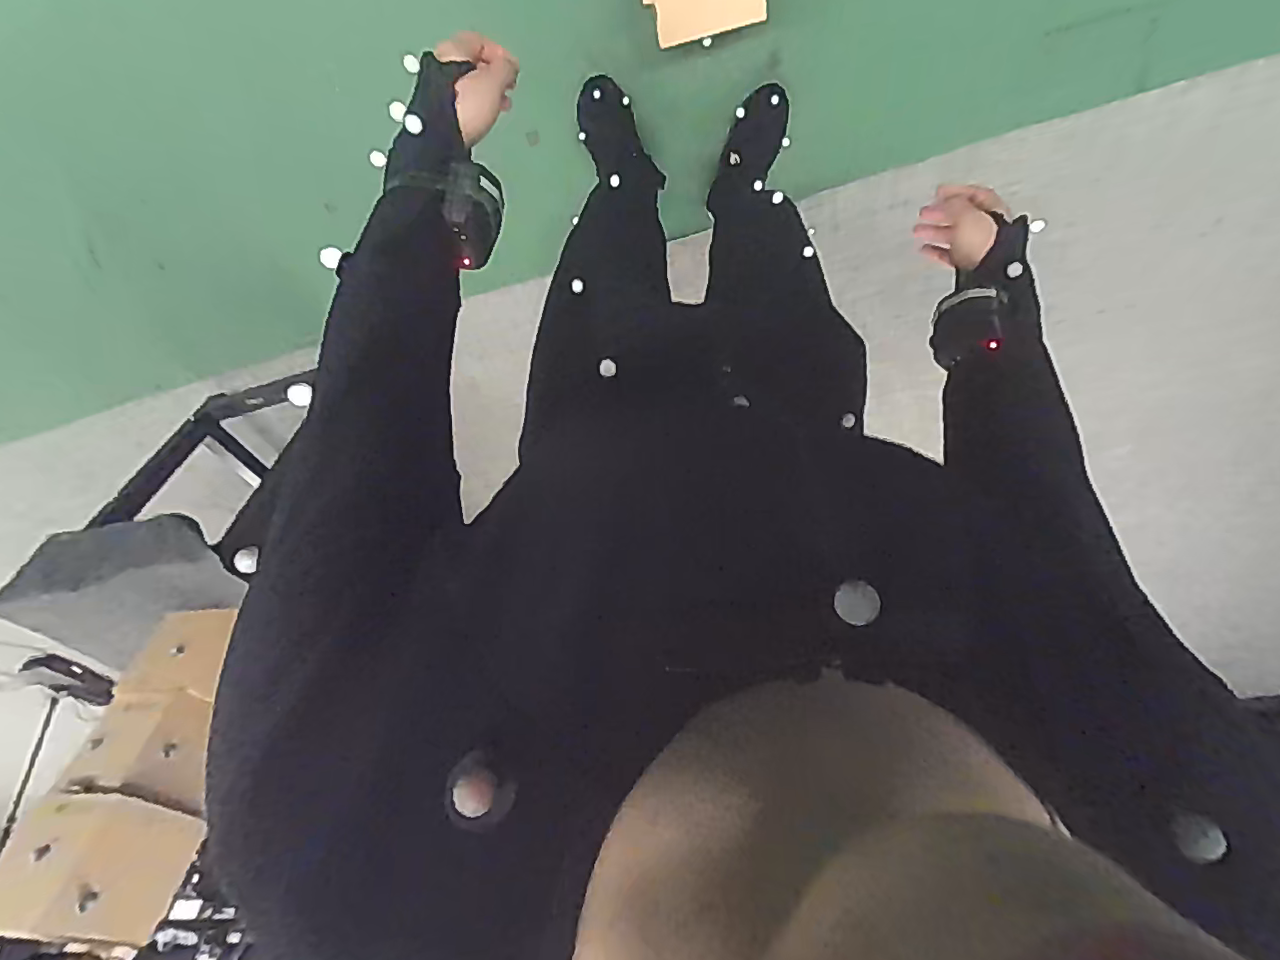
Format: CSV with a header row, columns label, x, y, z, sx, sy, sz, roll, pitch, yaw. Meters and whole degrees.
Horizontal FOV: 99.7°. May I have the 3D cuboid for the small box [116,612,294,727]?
label,x,y,z,sx,sy,sz,roll,pitch,yaw
small box,-0.832,0.375,1.057,0.179,0.176,0.168,-7,135,10

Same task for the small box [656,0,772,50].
label,x,y,z,sx,sy,sz,roll,pitch,yaw
small box,0.107,-0.829,0.871,0.179,0.176,0.168,-9,135,10

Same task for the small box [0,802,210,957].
label,x,y,z,sx,sy,sz,roll,pitch,yaw
small box,-0.829,0.605,0.823,0.168,0.176,0.179,-7,135,13

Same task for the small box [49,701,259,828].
label,x,y,z,sx,sy,sz,roll,pitch,yaw
small box,-0.837,0.499,0.952,0.168,0.176,0.179,-11,136,17
